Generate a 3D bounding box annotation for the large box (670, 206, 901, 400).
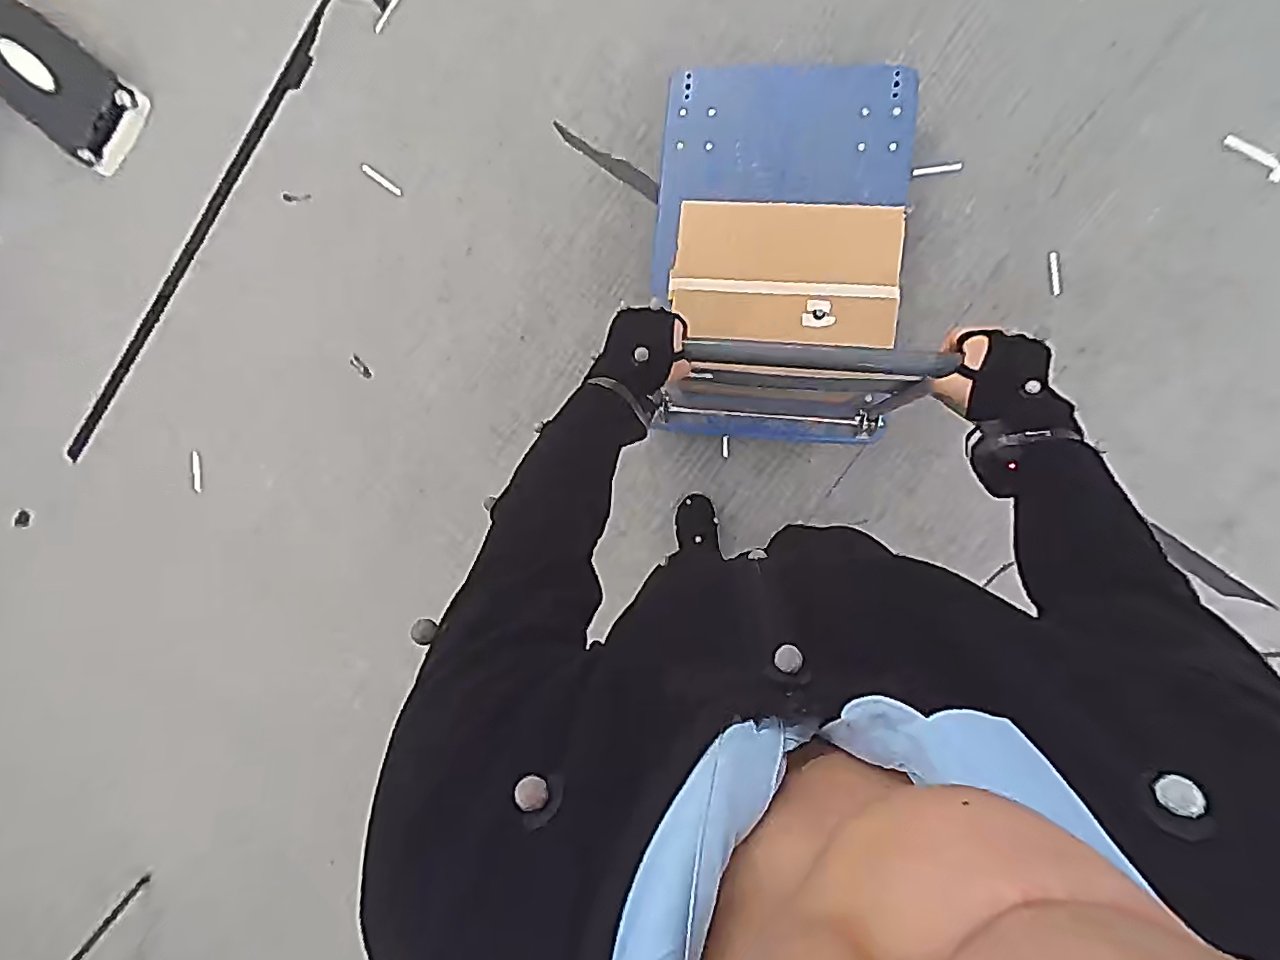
[{"bbox_3d":[0.278,-0.350,1.144,0.408,0.320,0.320,5,92,6],"label":"large box"}]
